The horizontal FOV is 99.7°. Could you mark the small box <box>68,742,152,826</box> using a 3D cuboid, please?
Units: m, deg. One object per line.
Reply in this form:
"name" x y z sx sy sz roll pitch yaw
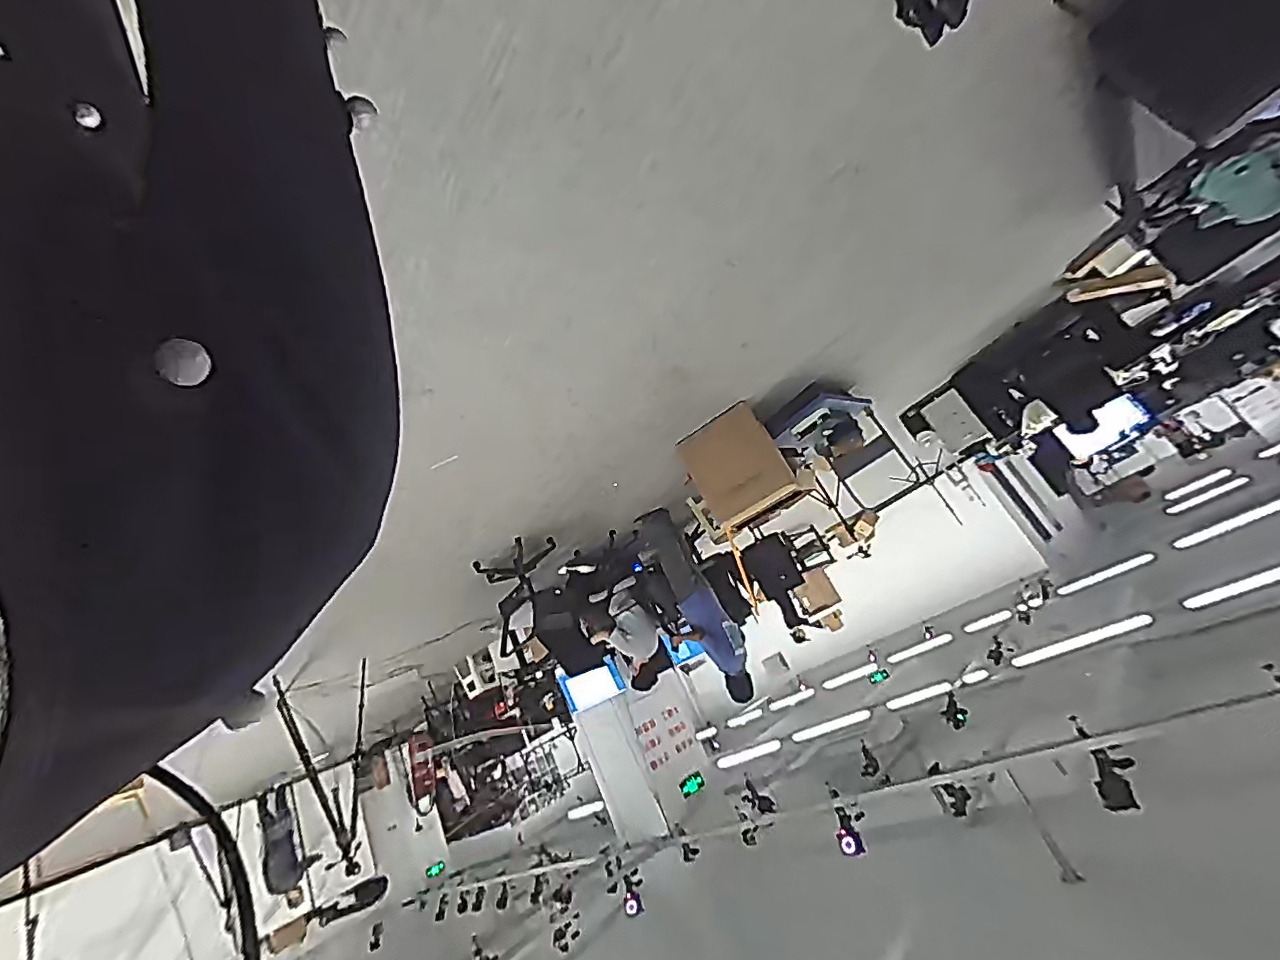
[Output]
"small box" -1.676 0.957 1.714 0.179 0.176 0.168 -6 151 -43
